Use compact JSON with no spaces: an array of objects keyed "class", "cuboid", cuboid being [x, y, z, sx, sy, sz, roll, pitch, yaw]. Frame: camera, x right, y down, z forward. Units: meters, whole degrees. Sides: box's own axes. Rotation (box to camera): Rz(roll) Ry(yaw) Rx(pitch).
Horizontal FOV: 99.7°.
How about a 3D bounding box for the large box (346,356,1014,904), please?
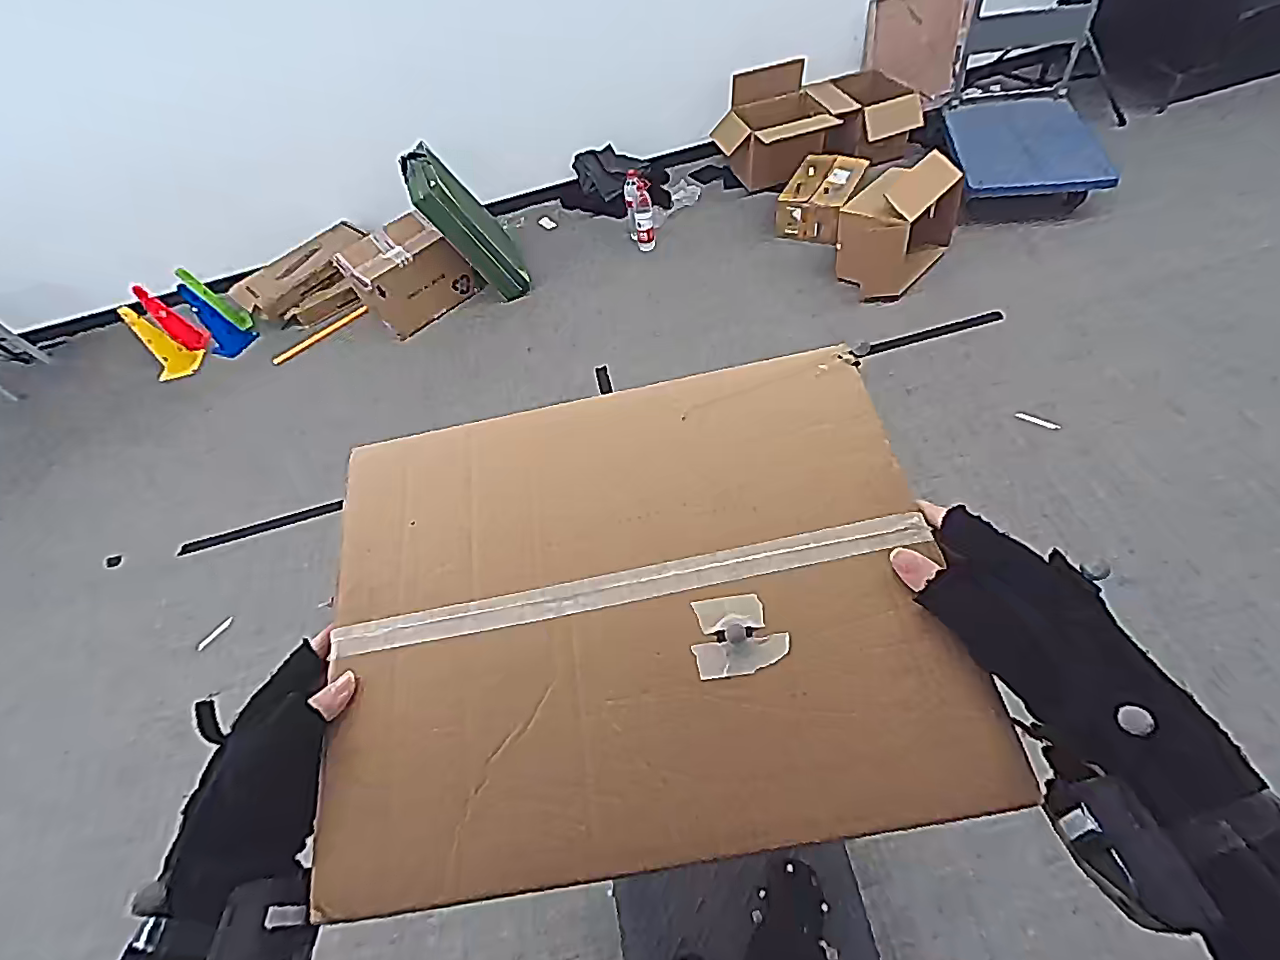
[{"class":"large box","cuboid":[0.011,0.138,0.509,0.408,0.320,0.320,-12,64,2]}]
